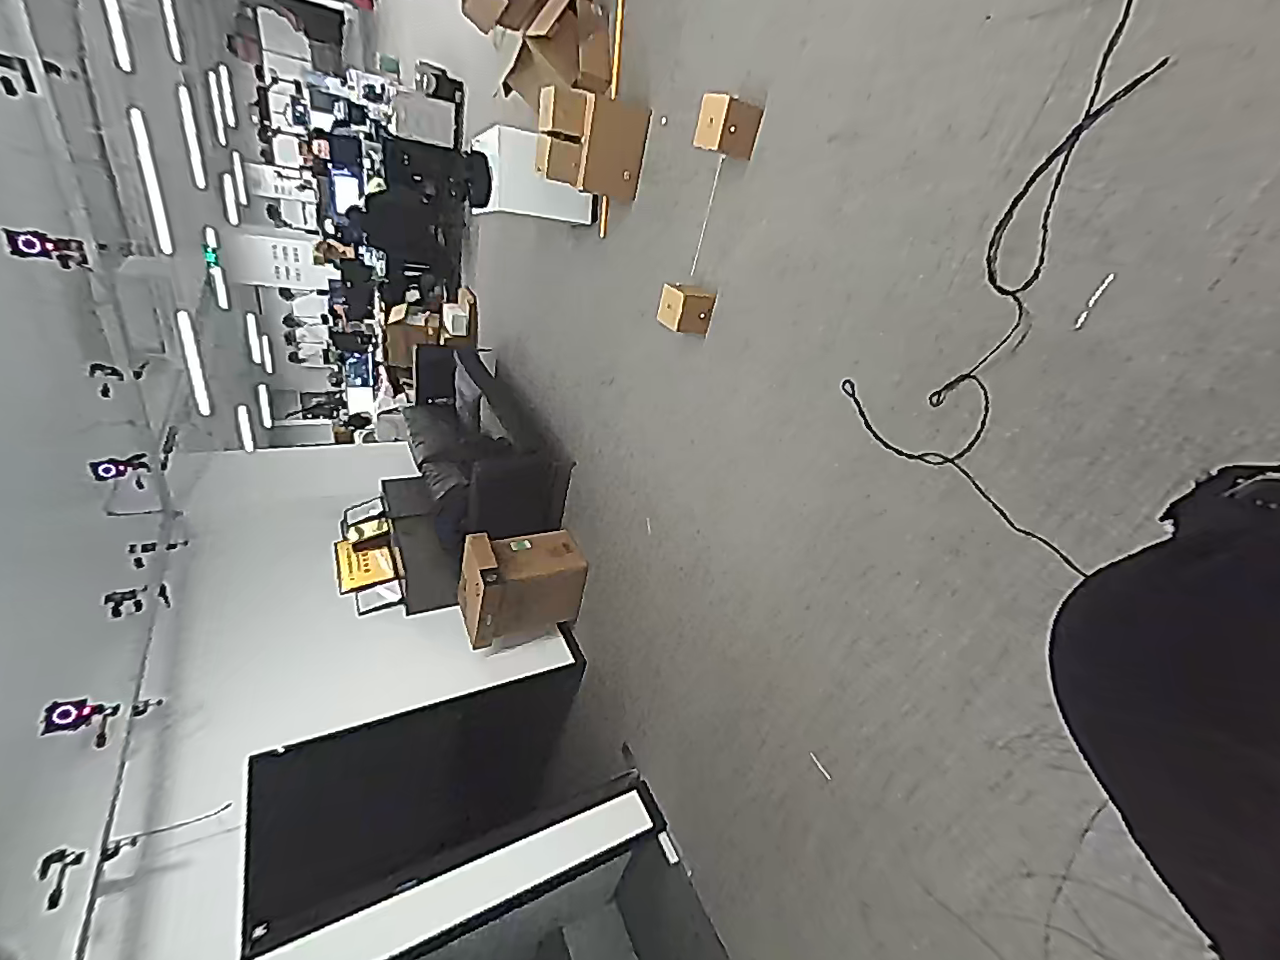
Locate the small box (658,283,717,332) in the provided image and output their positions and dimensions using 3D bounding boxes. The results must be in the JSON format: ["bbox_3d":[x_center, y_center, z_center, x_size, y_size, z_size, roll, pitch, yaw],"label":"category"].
[{"bbox_3d":[0.209,-0.758,2.391,0.179,0.176,0.168,49,136,44],"label":"small box"}]

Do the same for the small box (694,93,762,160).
[{"bbox_3d":[0.337,-1.338,2.048,0.168,0.176,0.179,49,136,44],"label":"small box"}]
